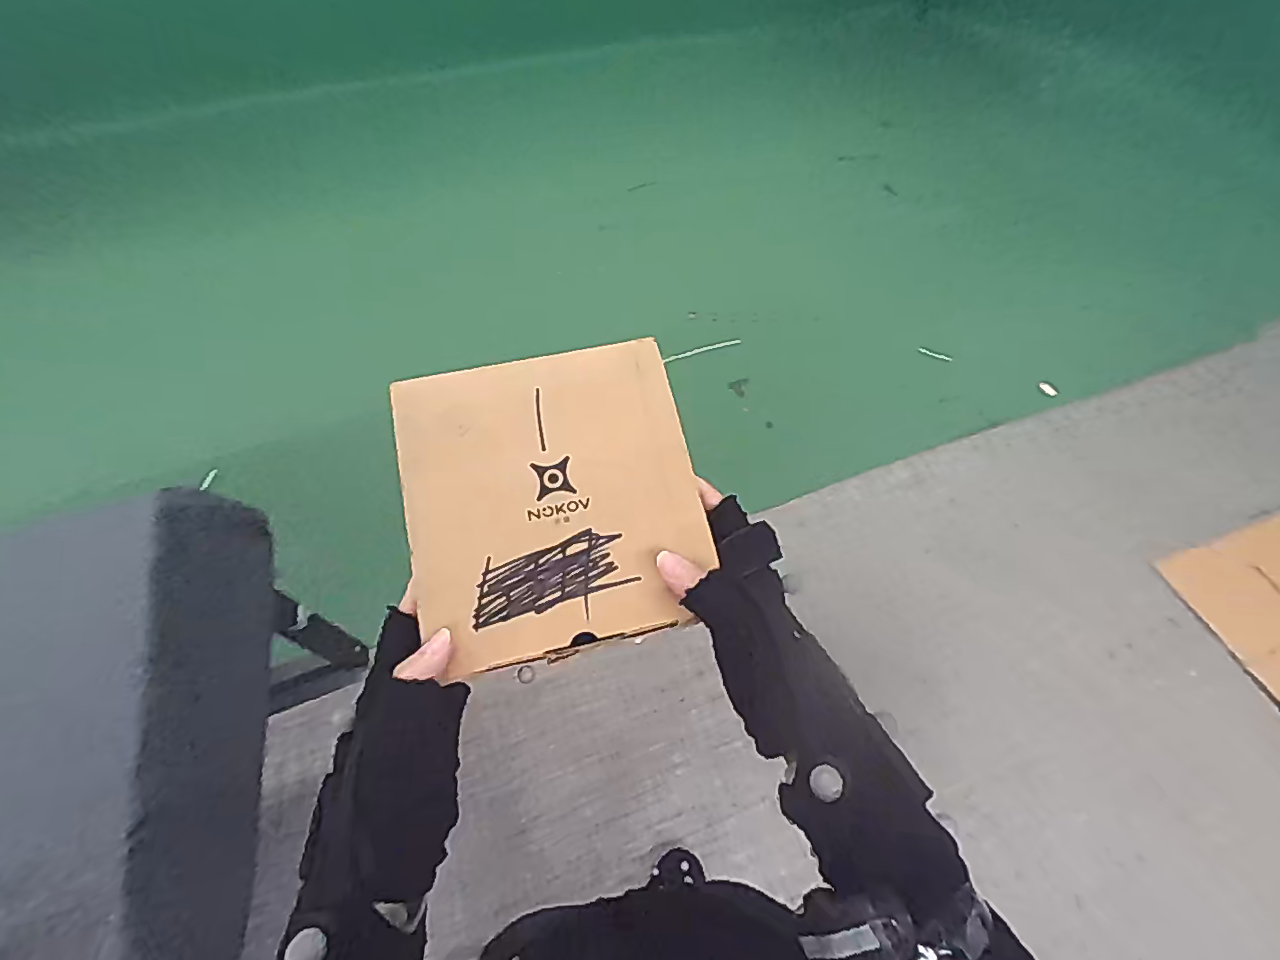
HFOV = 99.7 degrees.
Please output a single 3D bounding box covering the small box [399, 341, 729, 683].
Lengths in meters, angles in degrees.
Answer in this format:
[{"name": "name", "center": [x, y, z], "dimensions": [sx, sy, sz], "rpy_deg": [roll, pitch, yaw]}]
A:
[{"name": "small box", "center": [-0.051, 0.030, 0.396], "dimensions": [0.168, 0.176, 0.179], "rpy_deg": [-15, 76, -8]}]
